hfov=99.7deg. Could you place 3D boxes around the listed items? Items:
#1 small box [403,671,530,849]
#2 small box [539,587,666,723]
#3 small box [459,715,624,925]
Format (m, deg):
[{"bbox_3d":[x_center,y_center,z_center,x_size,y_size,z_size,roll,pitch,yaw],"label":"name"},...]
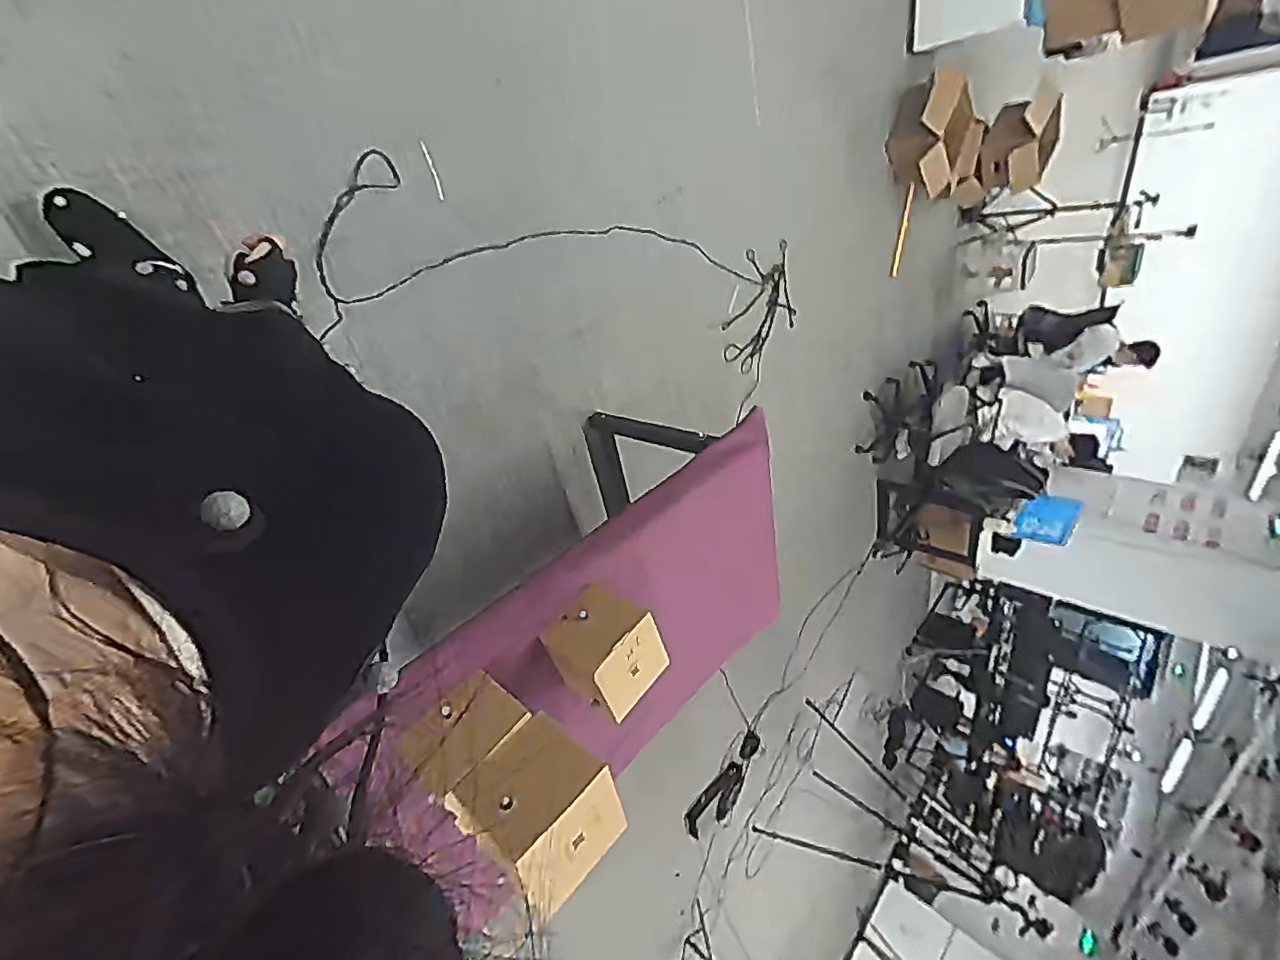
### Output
[{"bbox_3d":[-0.281,0.472,0.934,0.179,0.176,0.168,-39,129,-31],"label":"small box"},{"bbox_3d":[-0.076,0.350,1.111,0.168,0.176,0.179,-42,131,-30],"label":"small box"},{"bbox_3d":[-0.155,0.510,0.835,0.179,0.176,0.168,-34,126,-36],"label":"small box"}]
